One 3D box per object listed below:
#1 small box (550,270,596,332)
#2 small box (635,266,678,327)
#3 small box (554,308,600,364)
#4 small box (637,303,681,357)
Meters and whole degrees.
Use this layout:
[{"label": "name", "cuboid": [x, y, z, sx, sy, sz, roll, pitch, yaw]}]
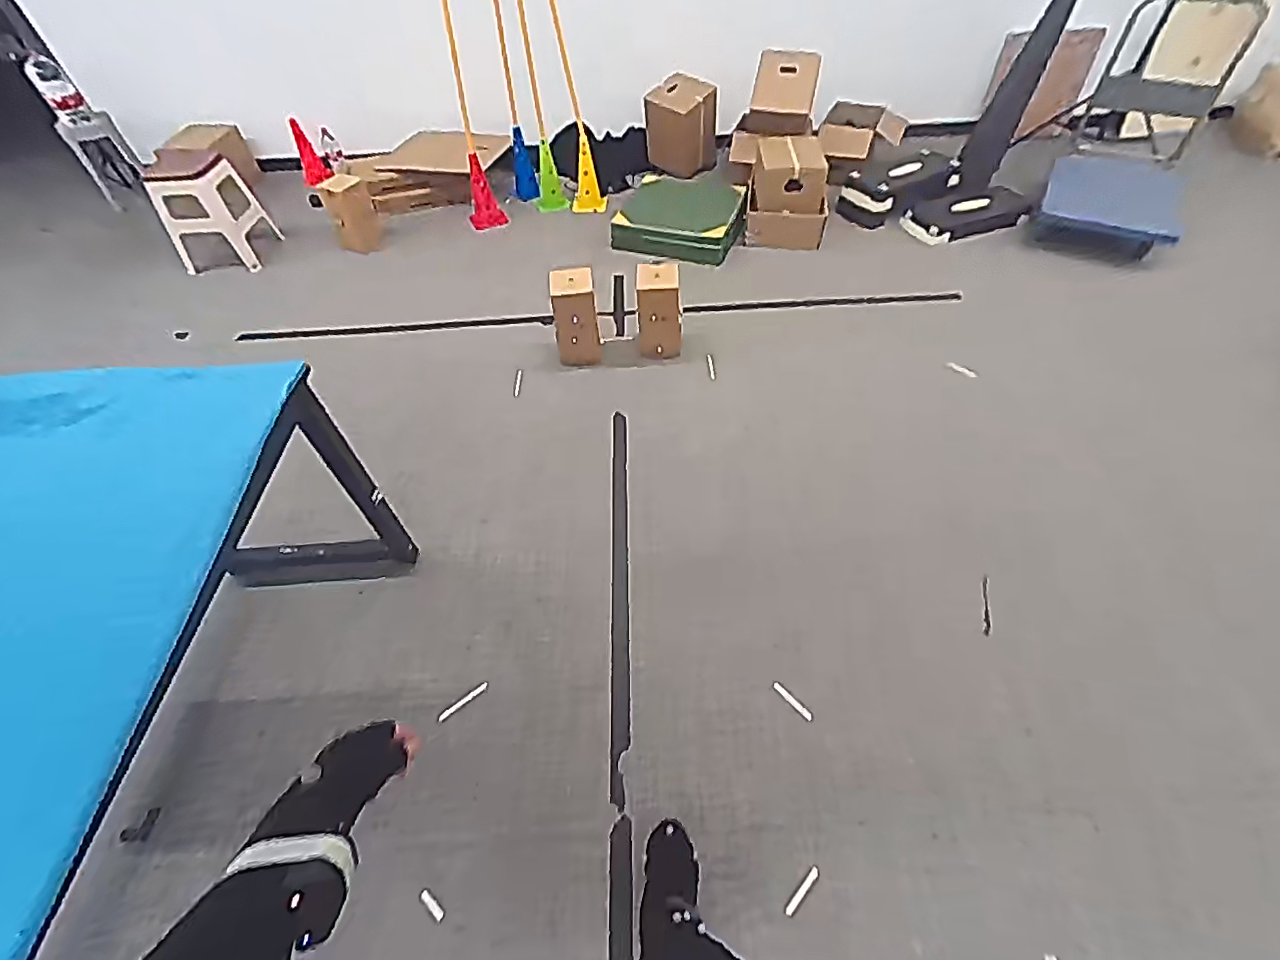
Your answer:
[{"label": "small box", "cuboid": [-0.267, -0.714, 2.163, 0.168, 0.176, 0.179, -6, 51, -2]}, {"label": "small box", "cuboid": [0.066, -0.738, 2.177, 0.168, 0.176, 0.179, -1, 52, 3]}, {"label": "small box", "cuboid": [-0.263, -0.607, 2.287, 0.179, 0.176, 0.168, -4, 51, -3]}, {"label": "small box", "cuboid": [0.079, -0.639, 2.305, 0.179, 0.176, 0.168, 1, 50, 1]}]
